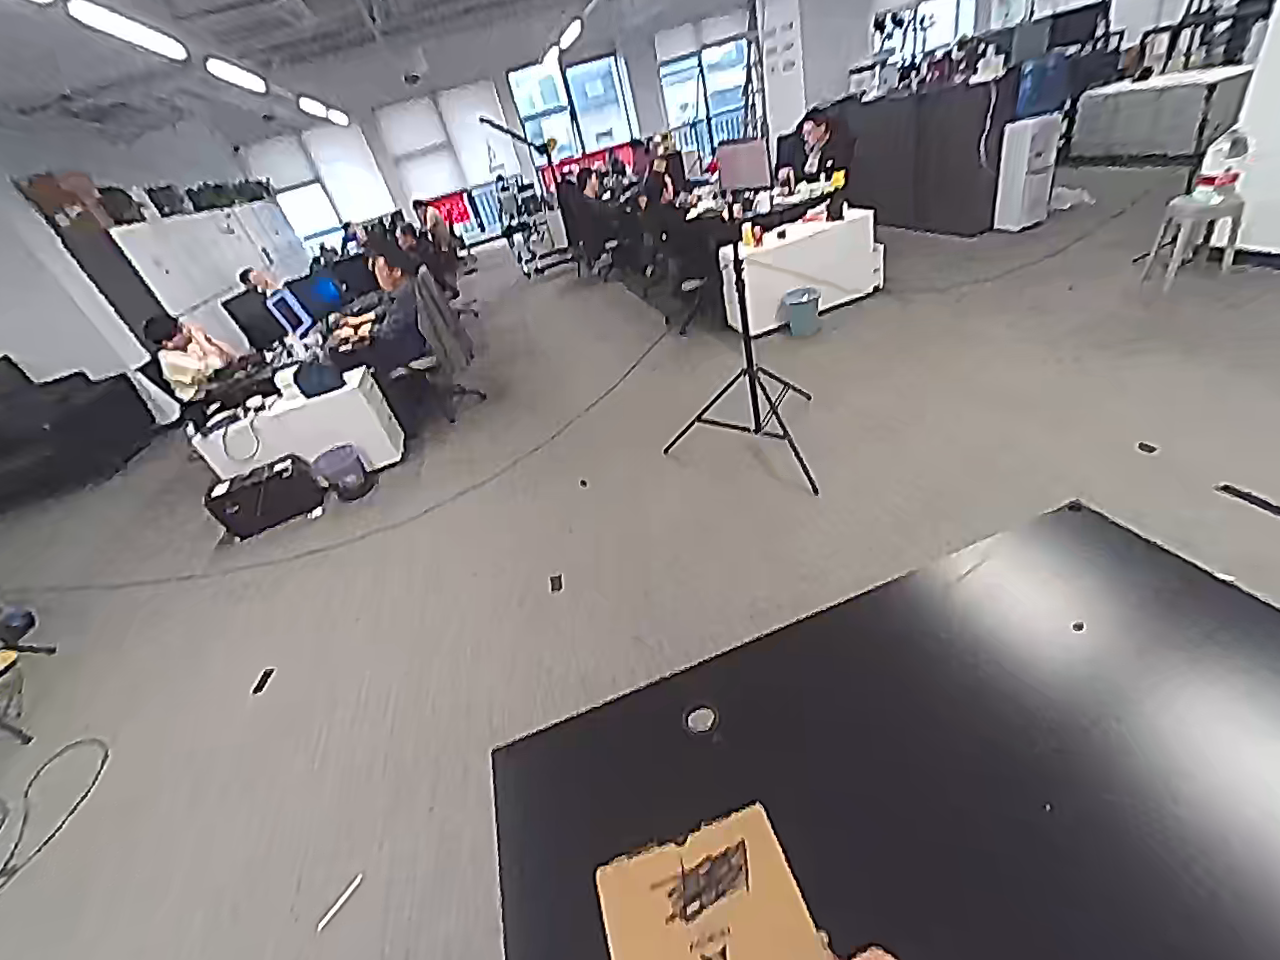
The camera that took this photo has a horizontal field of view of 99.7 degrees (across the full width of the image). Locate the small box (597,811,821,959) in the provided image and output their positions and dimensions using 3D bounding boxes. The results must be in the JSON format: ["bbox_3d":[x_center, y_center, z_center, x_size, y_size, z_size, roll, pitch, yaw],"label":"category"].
[{"bbox_3d":[0.071,0.446,0.487,0.168,0.176,0.179,-18,39,-6],"label":"small box"}]
